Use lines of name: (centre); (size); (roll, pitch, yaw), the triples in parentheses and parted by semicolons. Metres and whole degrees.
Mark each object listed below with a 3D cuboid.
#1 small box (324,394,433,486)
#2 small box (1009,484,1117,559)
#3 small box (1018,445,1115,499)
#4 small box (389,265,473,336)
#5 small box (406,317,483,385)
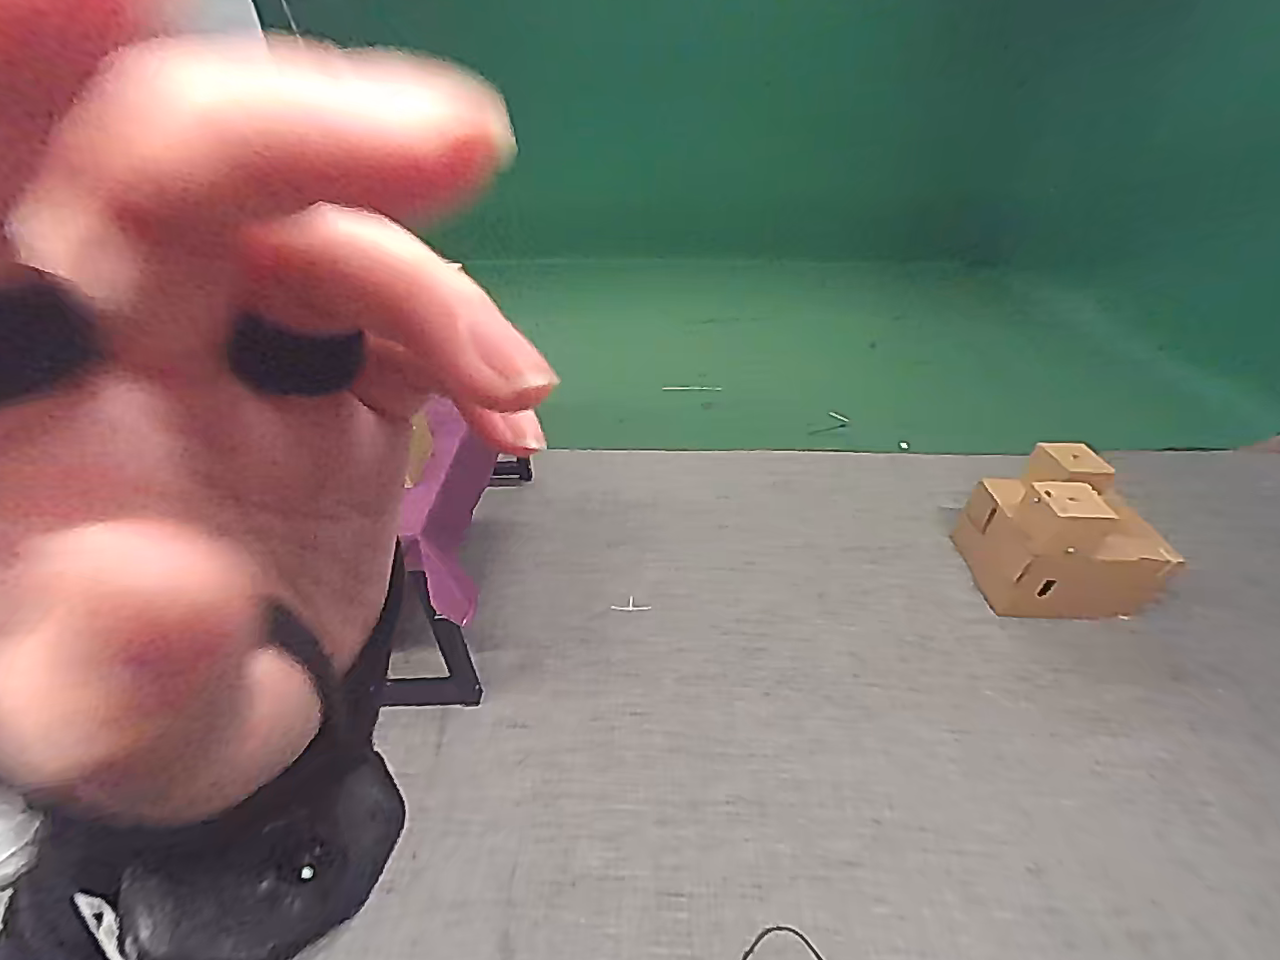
small box: (-0.630, -0.096, 1.331); (0.168, 0.176, 0.179); (-1, 37, 1)
small box: (1.308, 0.131, 1.688); (0.179, 0.176, 0.168); (3, 38, 2)
small box: (1.463, -0.002, 1.869); (0.168, 0.176, 0.179); (2, 36, -1)
small box: (-0.630, -0.547, 1.651); (0.179, 0.176, 0.168); (1, 38, 1)
small box: (-0.621, -0.415, 1.746); (0.179, 0.176, 0.168); (0, 37, 1)
